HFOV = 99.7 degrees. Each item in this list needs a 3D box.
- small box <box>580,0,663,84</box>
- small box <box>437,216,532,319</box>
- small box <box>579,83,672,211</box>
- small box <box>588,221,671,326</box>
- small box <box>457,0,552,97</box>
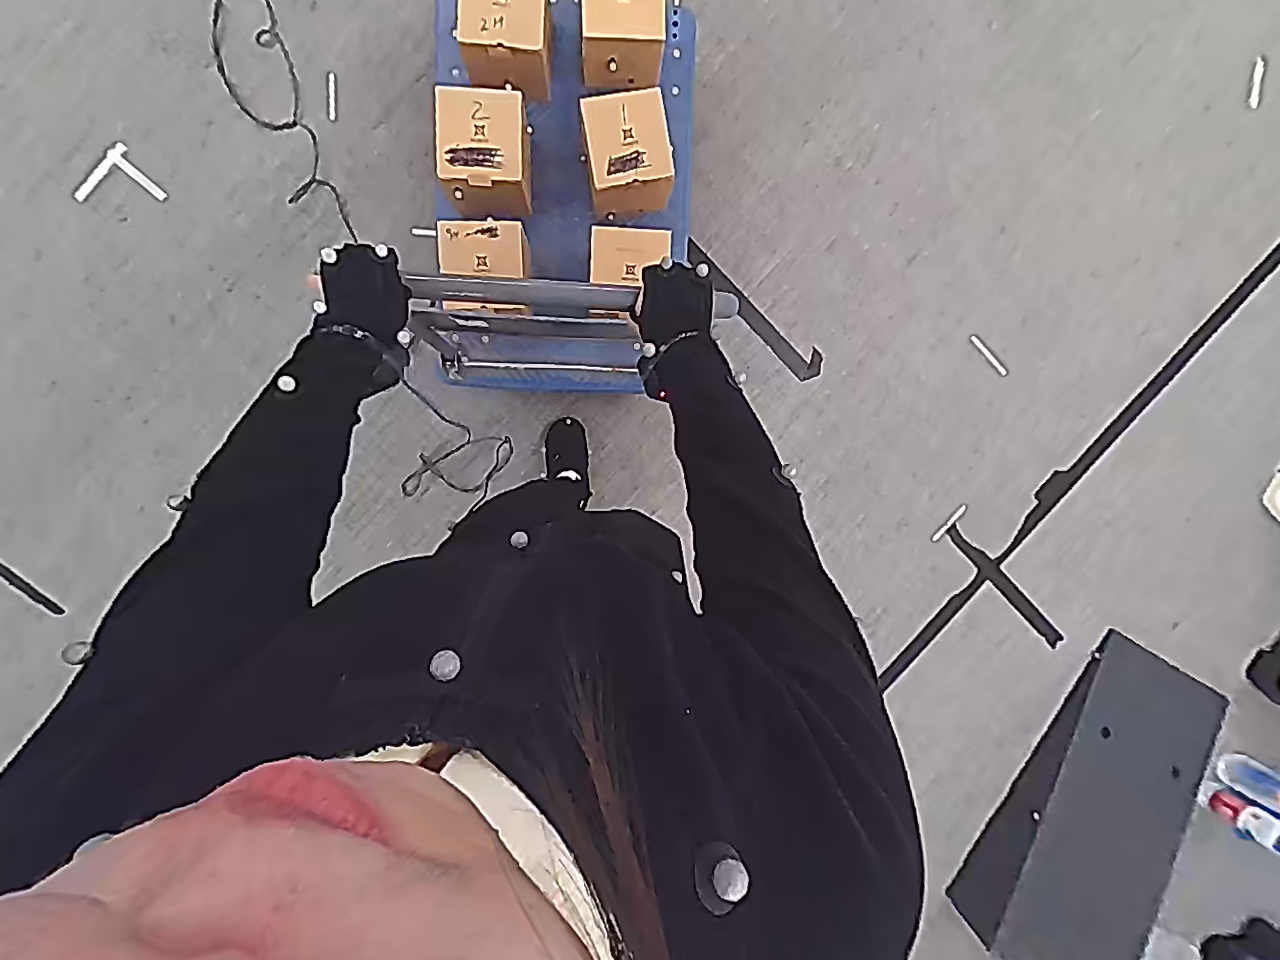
[{"bbox_3d":[-0.040,-0.971,1.134,0.168,0.176,0.179,-1,96,-4],"label":"small box"},{"bbox_3d":[-0.325,-0.446,1.159,0.168,0.176,0.179,-2,96,-6],"label":"small box"},{"bbox_3d":[-0.032,-0.700,1.160,0.168,0.176,0.179,-11,96,-4],"label":"small box"},{"bbox_3d":[-0.027,-0.443,1.187,0.168,0.176,0.179,2,95,-6],"label":"small box"},{"bbox_3d":[-0.272,-0.940,1.115,0.168,0.176,0.179,3,96,-5],"label":"small box"}]
